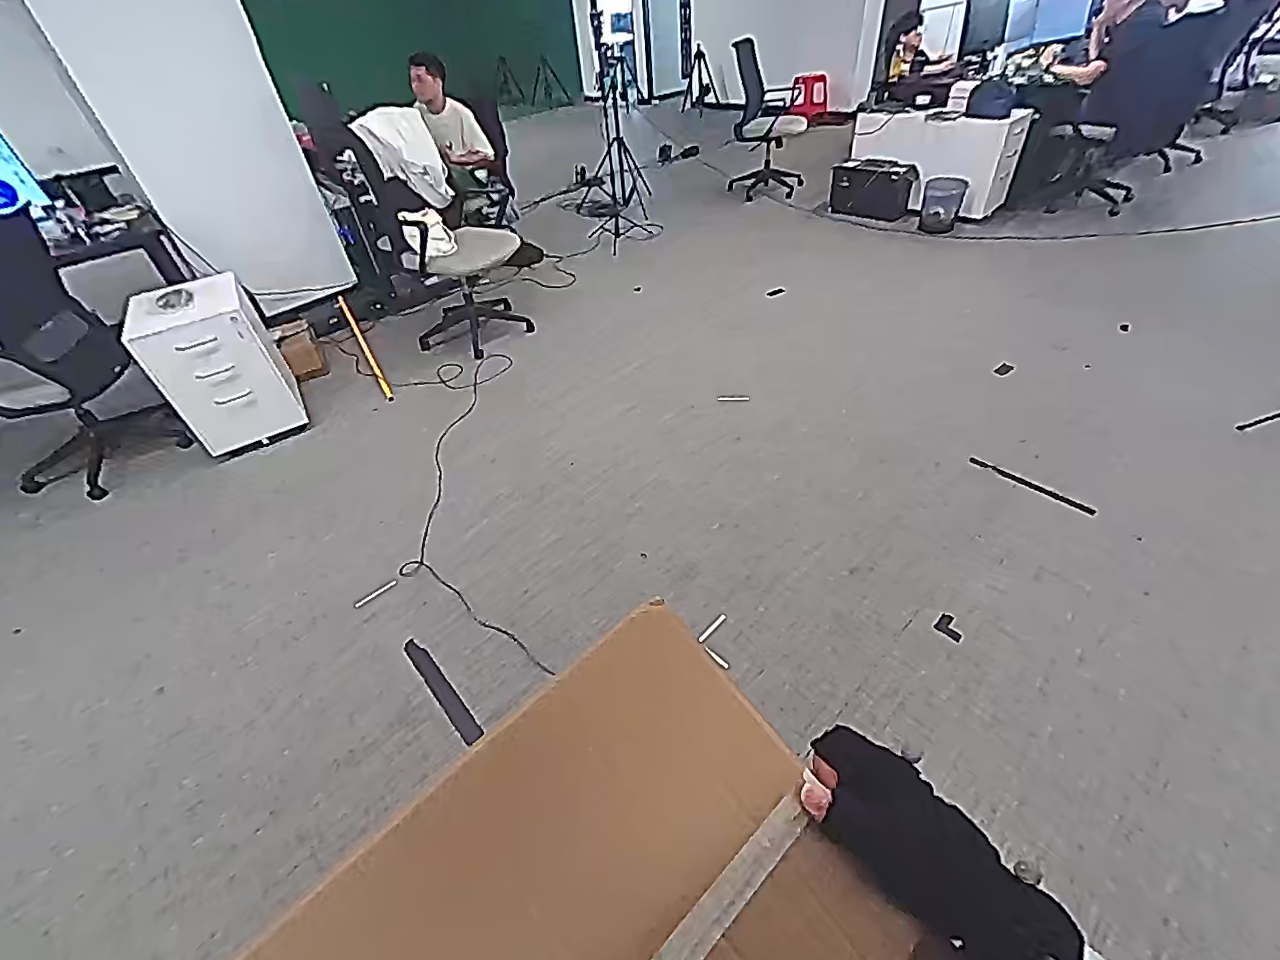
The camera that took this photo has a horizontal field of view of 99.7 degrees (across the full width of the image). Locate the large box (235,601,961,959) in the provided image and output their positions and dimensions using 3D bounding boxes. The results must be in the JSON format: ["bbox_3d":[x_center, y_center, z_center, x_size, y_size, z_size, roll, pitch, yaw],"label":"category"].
[{"bbox_3d":[-0.066,0.364,0.414,0.408,0.320,0.320,-37,80,-23],"label":"large box"}]
